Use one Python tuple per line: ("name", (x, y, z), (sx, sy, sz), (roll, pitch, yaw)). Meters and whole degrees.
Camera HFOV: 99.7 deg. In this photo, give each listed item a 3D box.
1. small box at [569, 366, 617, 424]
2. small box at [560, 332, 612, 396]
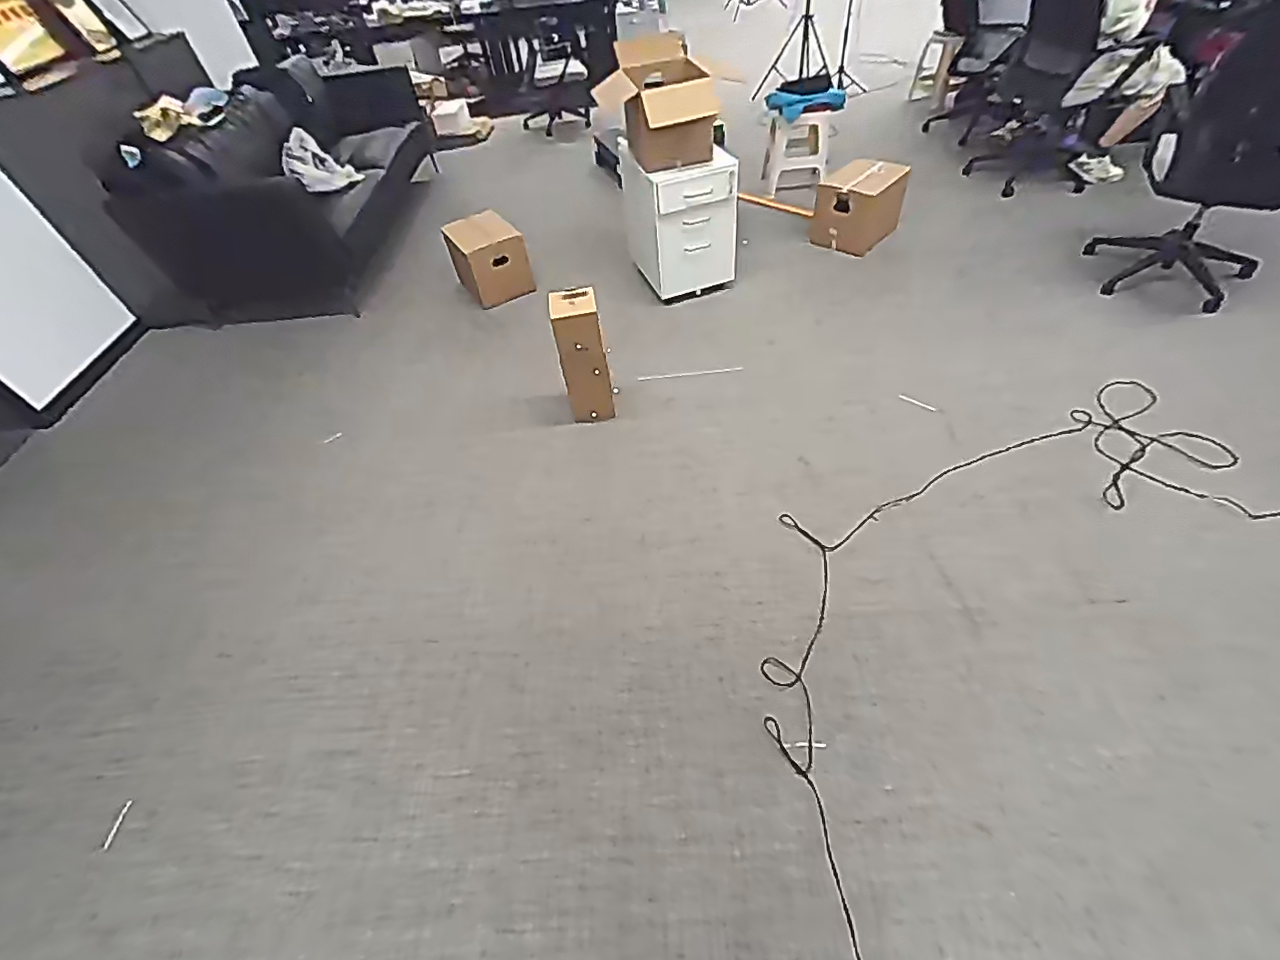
("small box", (-0.189, -0.349, 2.231), (0.179, 0.176, 0.168), (-6, 48, 2))
("small box", (-0.206, -0.448, 2.103), (0.179, 0.176, 0.168), (-9, 47, 2))
